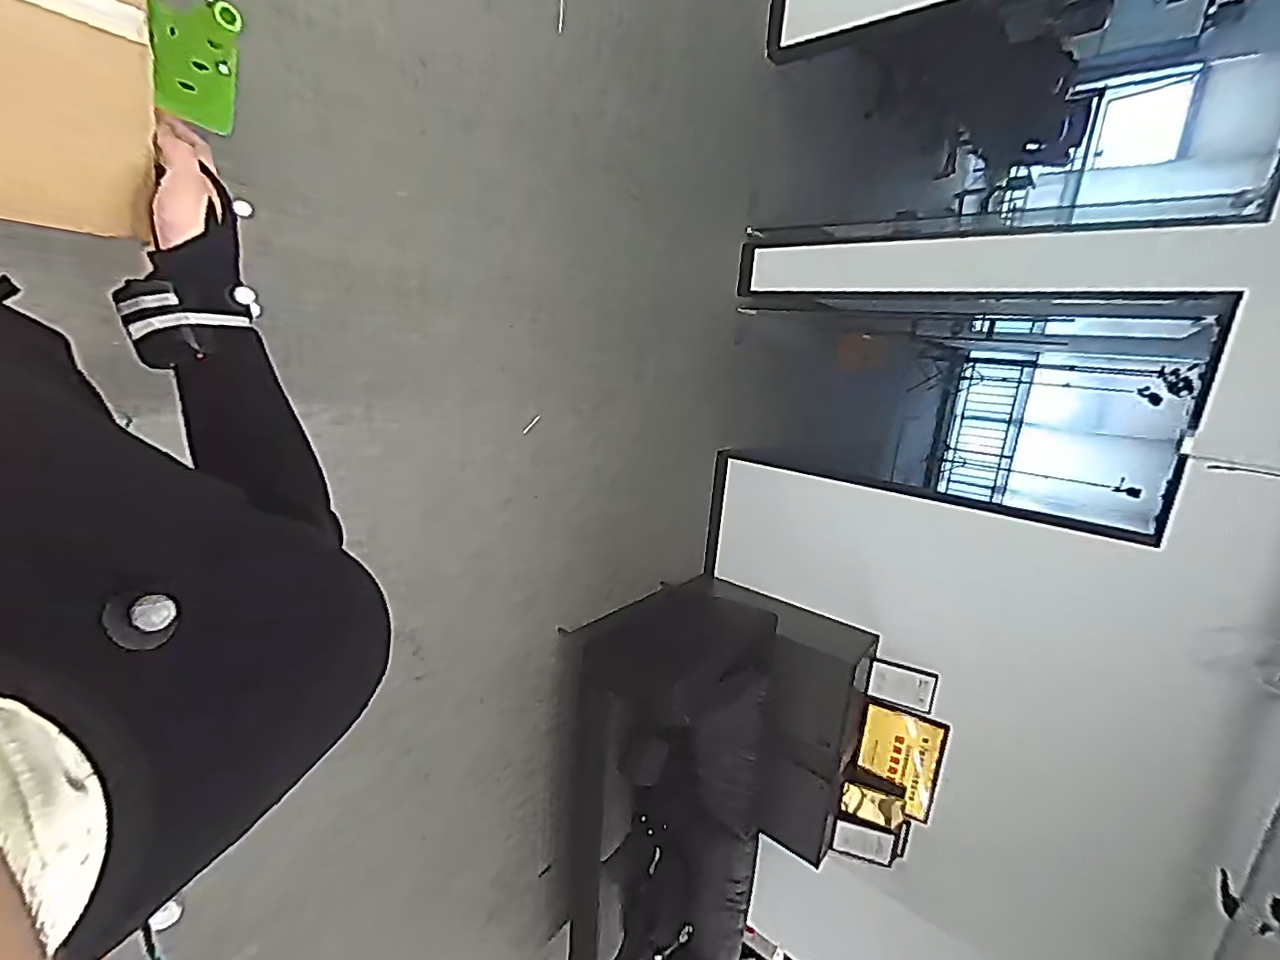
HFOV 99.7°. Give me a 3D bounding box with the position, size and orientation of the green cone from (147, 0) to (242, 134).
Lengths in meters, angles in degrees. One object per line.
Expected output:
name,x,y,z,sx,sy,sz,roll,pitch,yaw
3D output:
green cone,-0.858,-0.851,1.056,0.200,0.368,0.202,-3,103,-53
